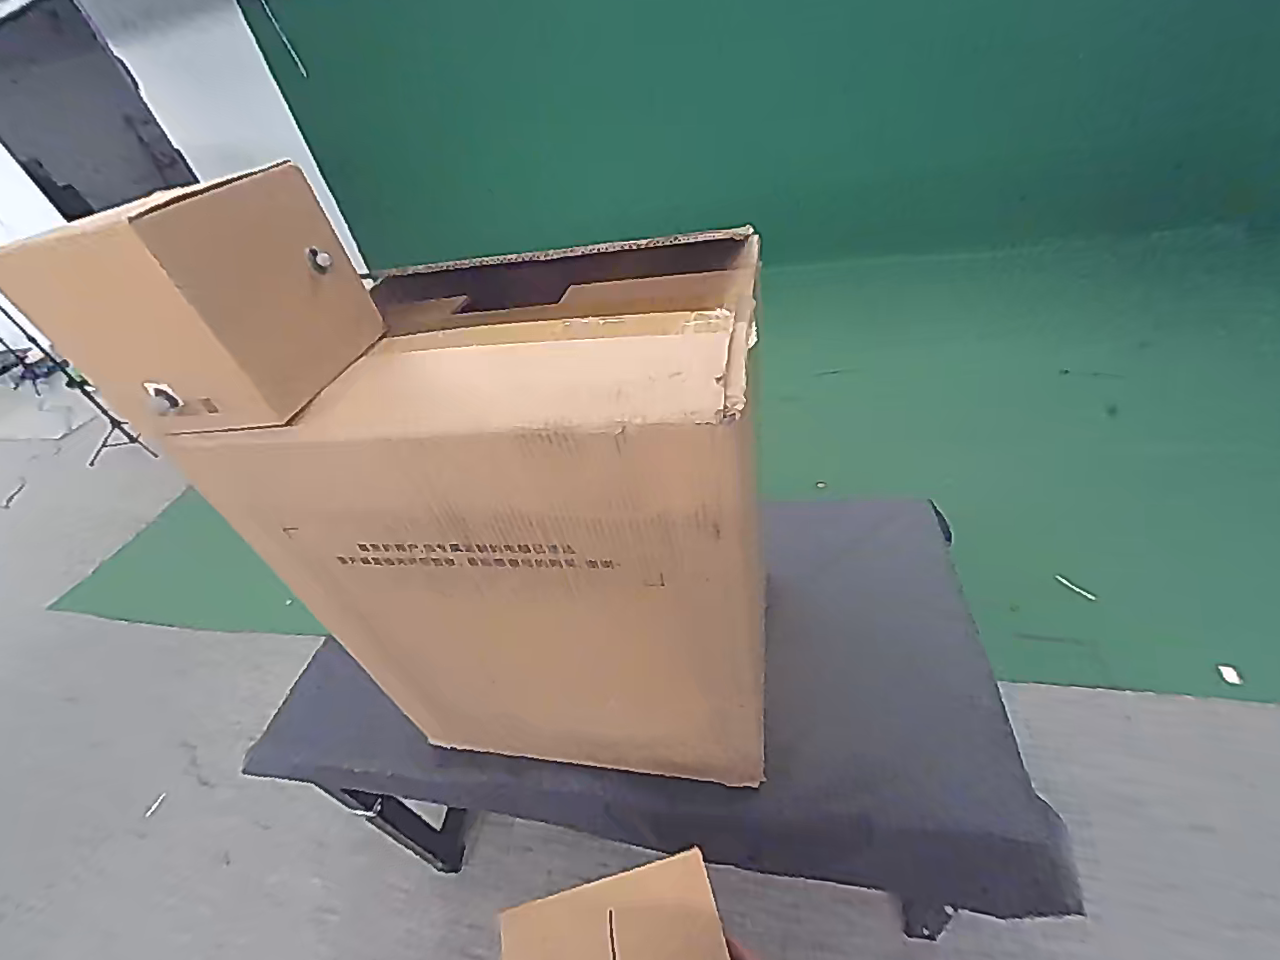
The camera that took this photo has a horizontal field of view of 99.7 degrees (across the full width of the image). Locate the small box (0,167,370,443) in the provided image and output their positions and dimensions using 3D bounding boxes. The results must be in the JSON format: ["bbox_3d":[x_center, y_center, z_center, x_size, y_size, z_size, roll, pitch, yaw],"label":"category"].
[{"bbox_3d":[-0.379,-0.154,0.484,0.168,0.176,0.179,-4,41,14],"label":"small box"}]
